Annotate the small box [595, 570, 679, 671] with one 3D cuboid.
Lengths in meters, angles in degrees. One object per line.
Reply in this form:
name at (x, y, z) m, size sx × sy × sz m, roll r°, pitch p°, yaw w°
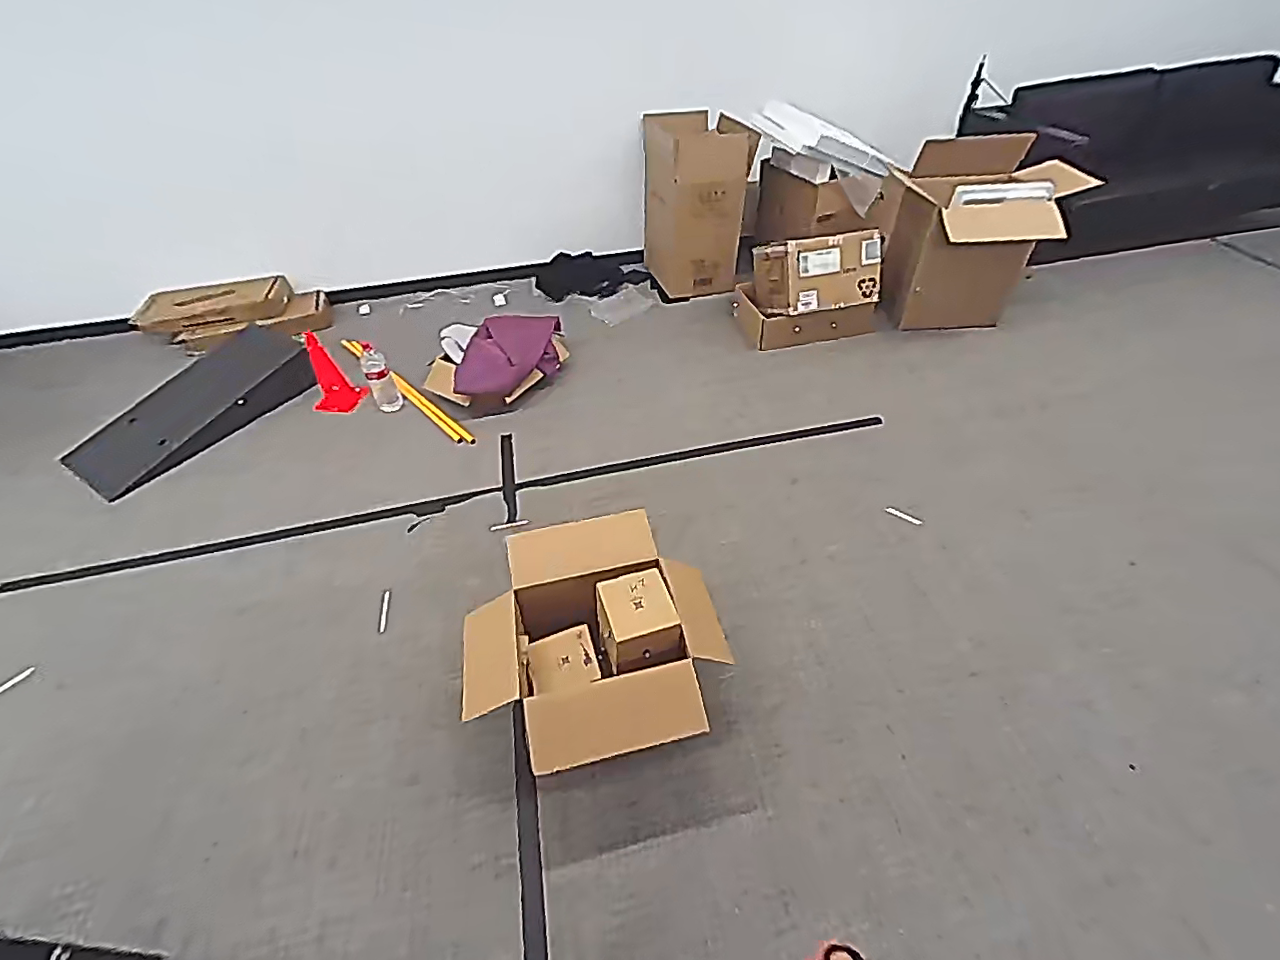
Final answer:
small box at (-0.010, 0.365, 1.379) m, size 0.168 × 0.176 × 0.179 m, roll -12°, pitch 46°, yaw -15°
